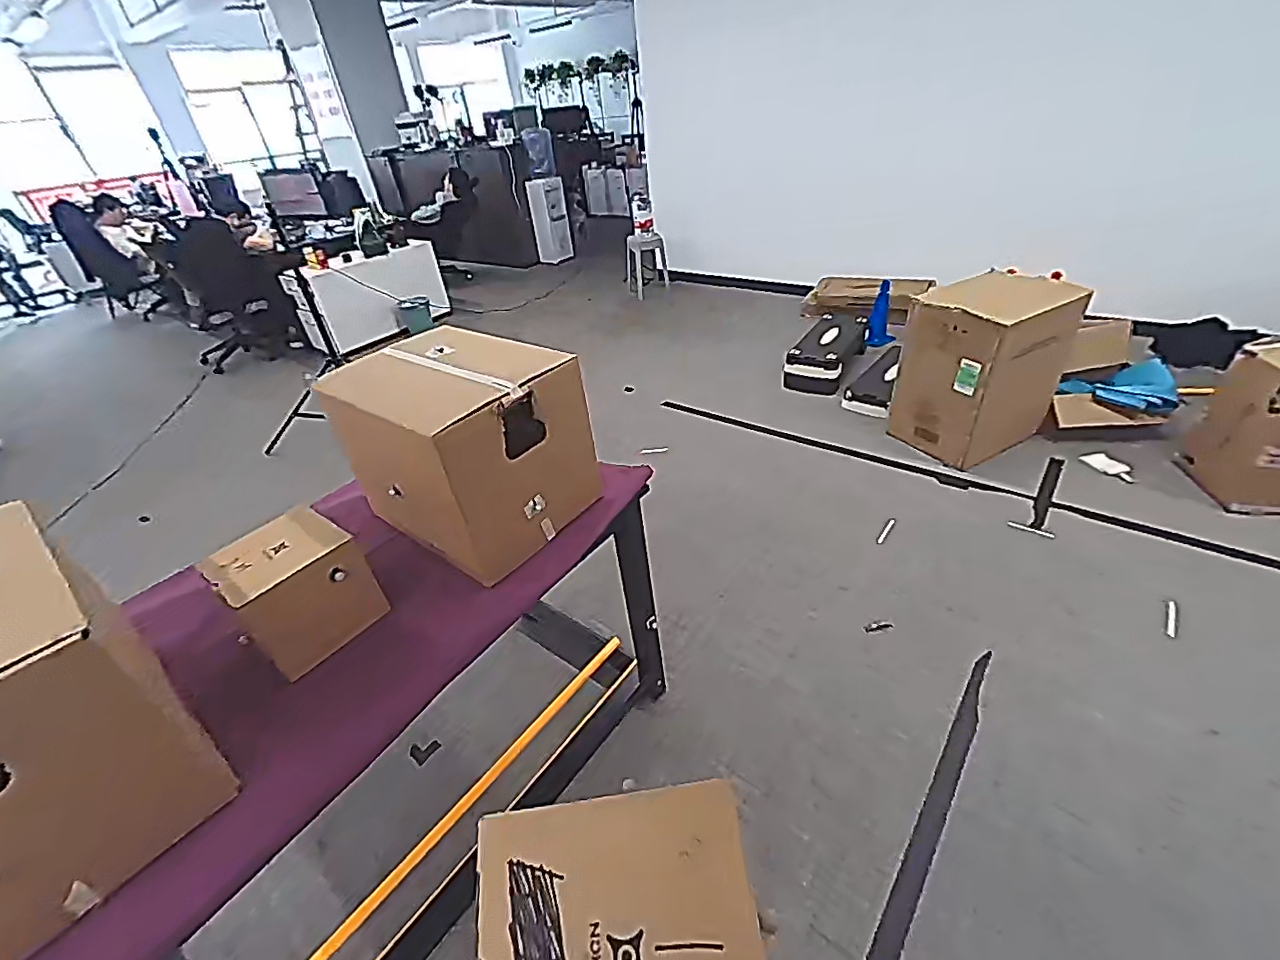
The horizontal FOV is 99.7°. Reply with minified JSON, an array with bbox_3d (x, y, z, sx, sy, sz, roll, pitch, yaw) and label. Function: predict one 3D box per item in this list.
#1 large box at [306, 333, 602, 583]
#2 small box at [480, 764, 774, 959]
[{"bbox_3d":[-0.337,-0.064,1.044,0.408,0.320,0.320,19,42,34],"label":"large box"},{"bbox_3d":[0.000,0.315,0.386,0.179,0.176,0.168,-11,56,3],"label":"small box"}]
